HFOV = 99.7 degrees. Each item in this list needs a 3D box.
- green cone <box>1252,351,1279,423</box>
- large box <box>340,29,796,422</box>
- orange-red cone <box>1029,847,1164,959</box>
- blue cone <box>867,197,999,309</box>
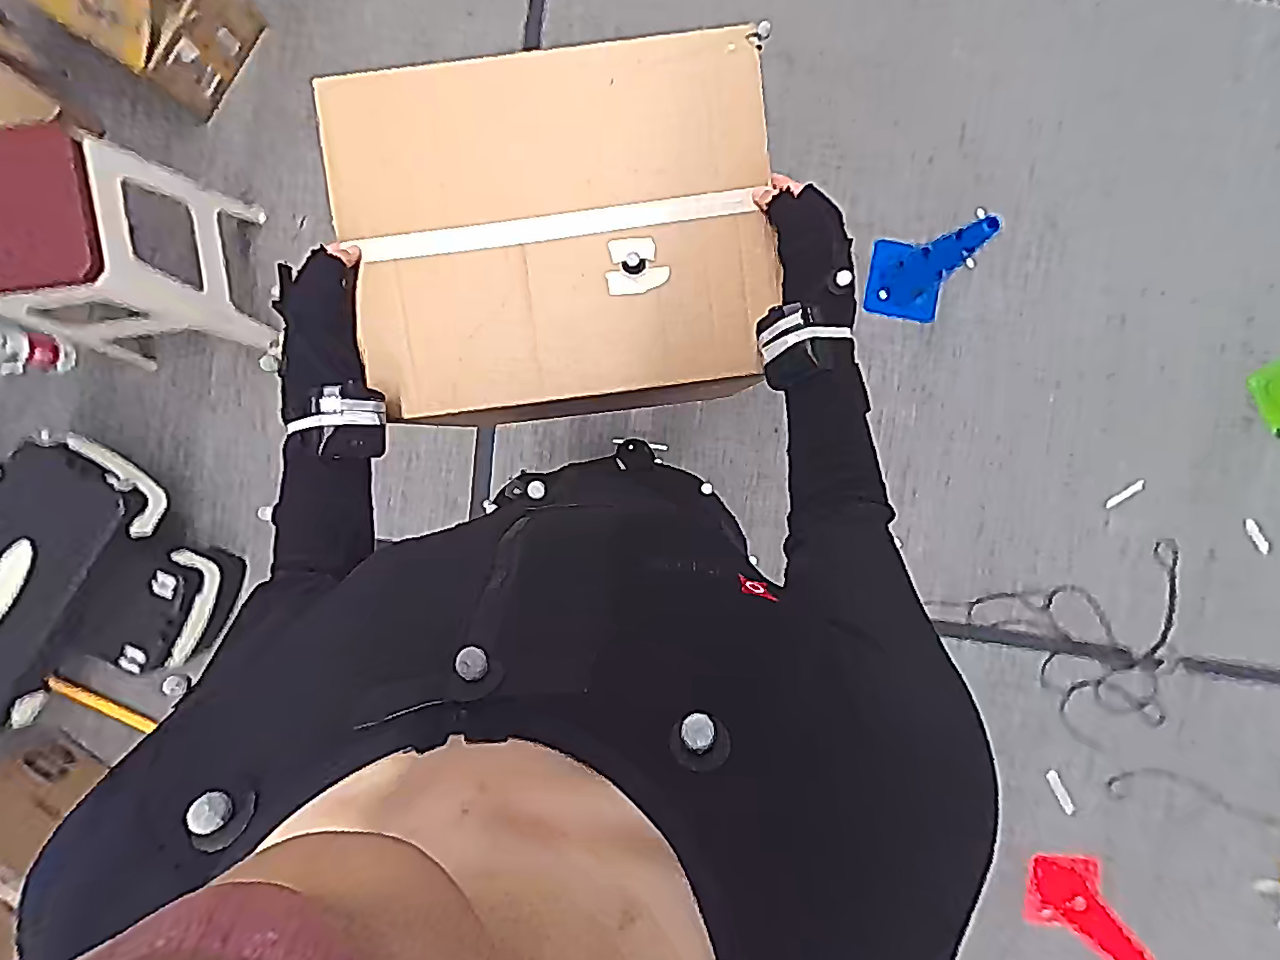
[{"bbox_3d":[1.811,-0.266,1.314,0.200,0.368,0.202,-30,91,0],"label":"green cone"},{"bbox_3d":[-0.067,-0.251,0.655,0.408,0.320,0.320,-6,95,0],"label":"large box"},{"bbox_3d":[1.223,1.153,1.371,0.199,0.360,0.198,5,93,-3],"label":"orange-red cone"},{"bbox_3d":[0.719,-0.562,1.300,0.193,0.380,0.192,11,91,-2],"label":"blue cone"}]
